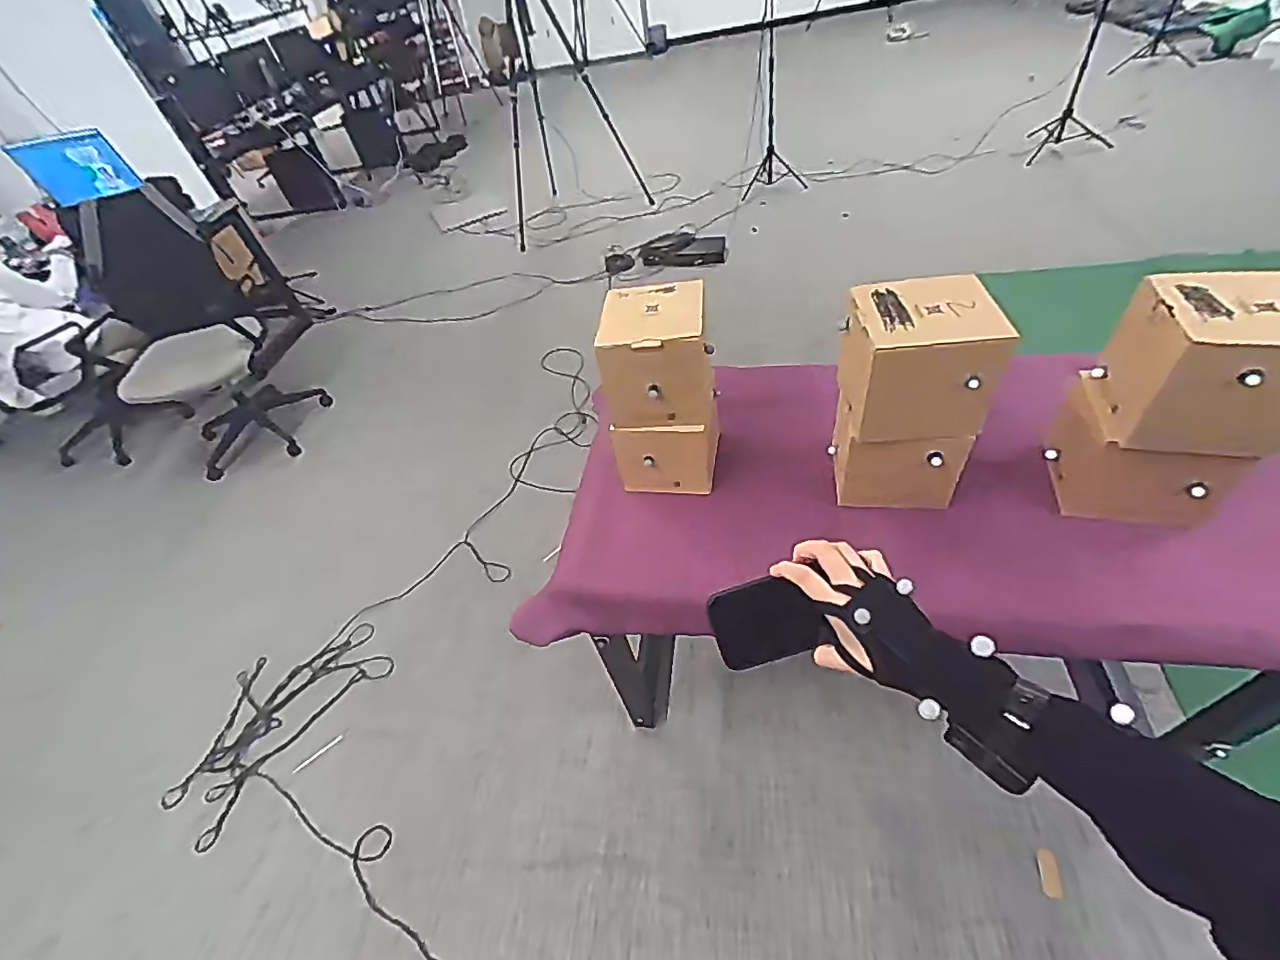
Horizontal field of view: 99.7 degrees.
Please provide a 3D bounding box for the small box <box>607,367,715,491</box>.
[{"bbox_3d":[0.050,-0.095,1.026,0.168,0.176,0.179,2,48,14],"label":"small box"}]

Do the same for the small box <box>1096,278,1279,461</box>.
[{"bbox_3d":[0.732,-0.142,0.697,0.179,0.176,0.168,7,49,17],"label":"small box"}]

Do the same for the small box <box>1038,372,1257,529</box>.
[{"bbox_3d":[0.751,-0.043,0.827,0.179,0.176,0.168,7,49,18],"label":"small box"}]

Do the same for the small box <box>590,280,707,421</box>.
[{"bbox_3d":[0.026,-0.211,0.913,0.168,0.176,0.179,-1,48,10],"label":"small box"}]

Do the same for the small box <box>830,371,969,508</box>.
[{"bbox_3d":[0.424,-0.066,0.917,0.179,0.176,0.168,2,48,14],"label":"small box"}]
